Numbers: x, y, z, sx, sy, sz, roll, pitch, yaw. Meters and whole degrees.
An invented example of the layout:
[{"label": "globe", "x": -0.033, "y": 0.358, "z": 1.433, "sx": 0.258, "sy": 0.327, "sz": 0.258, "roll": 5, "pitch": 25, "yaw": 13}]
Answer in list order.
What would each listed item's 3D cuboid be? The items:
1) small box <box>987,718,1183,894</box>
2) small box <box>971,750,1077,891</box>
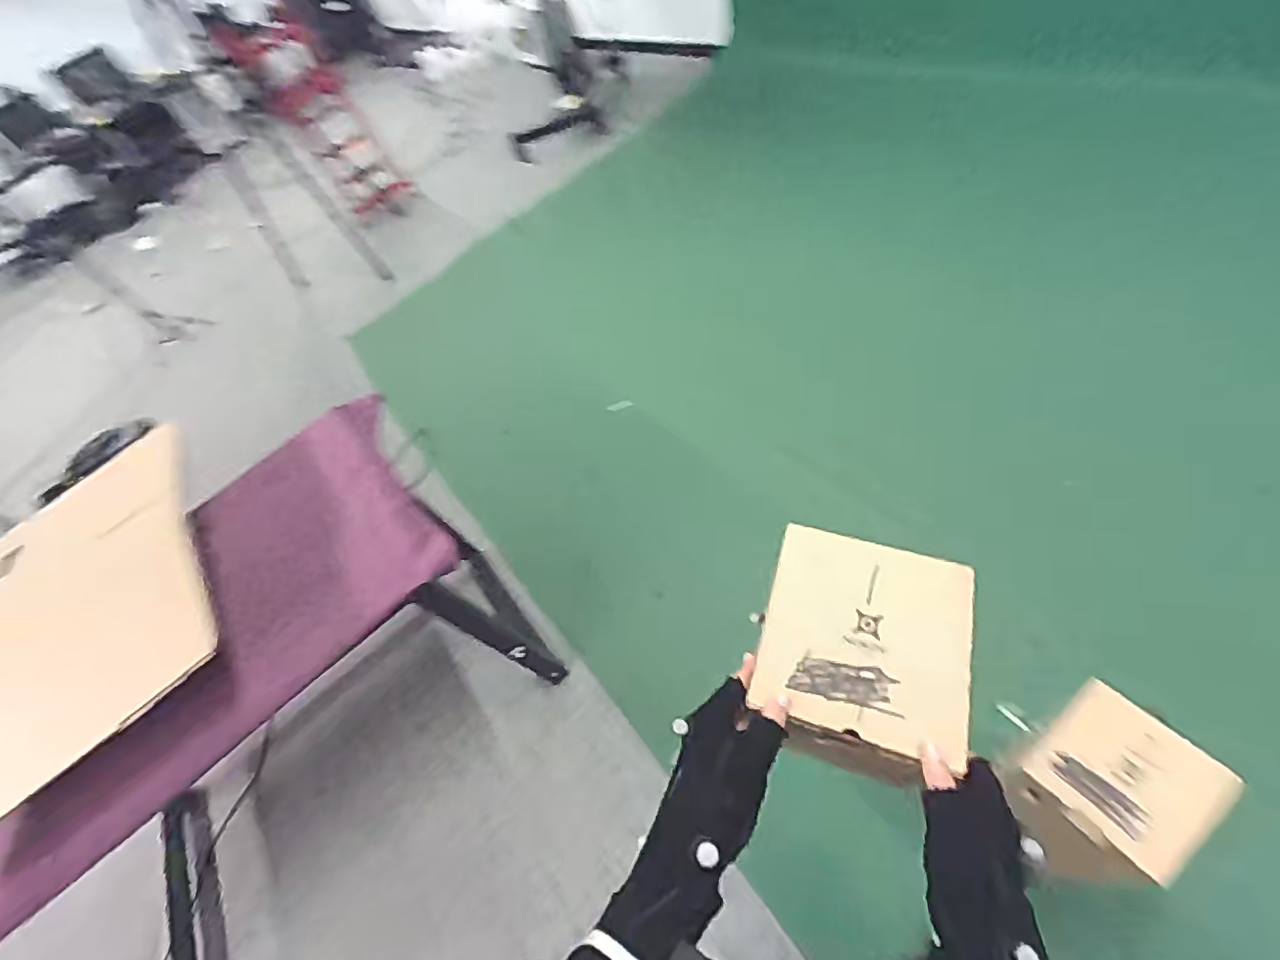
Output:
[{"label": "small box", "x": 0.706, "y": 0.529, "z": 0.884, "sx": 0.179, "sy": 0.176, "sz": 0.168, "roll": -41, "pitch": 52, "yaw": -9}, {"label": "small box", "x": 0.755, "y": 0.621, "z": 1.009, "sx": 0.179, "sy": 0.176, "sz": 0.168, "roll": -39, "pitch": 51, "yaw": -9}]
